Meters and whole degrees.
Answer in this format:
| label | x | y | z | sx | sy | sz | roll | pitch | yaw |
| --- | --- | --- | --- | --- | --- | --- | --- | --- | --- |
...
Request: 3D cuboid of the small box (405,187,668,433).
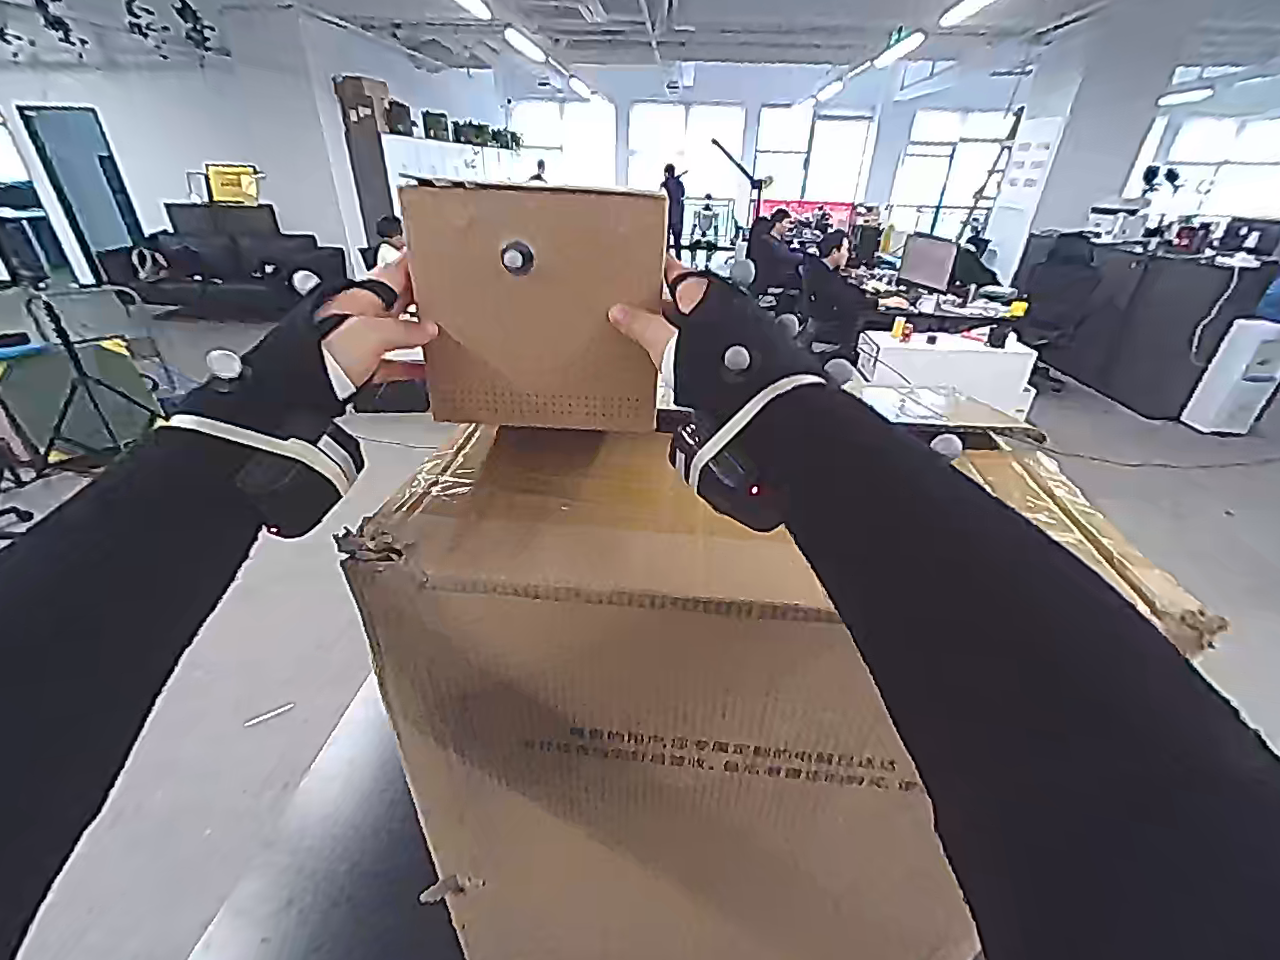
| label | x | y | z | sx | sy | sz | roll | pitch | yaw |
| --- | --- | --- | --- | --- | --- | --- | --- | --- | --- |
| small box | -0.067 | -0.147 | 0.457 | 0.179 | 0.176 | 0.168 | 3 | 28 | 1 |
